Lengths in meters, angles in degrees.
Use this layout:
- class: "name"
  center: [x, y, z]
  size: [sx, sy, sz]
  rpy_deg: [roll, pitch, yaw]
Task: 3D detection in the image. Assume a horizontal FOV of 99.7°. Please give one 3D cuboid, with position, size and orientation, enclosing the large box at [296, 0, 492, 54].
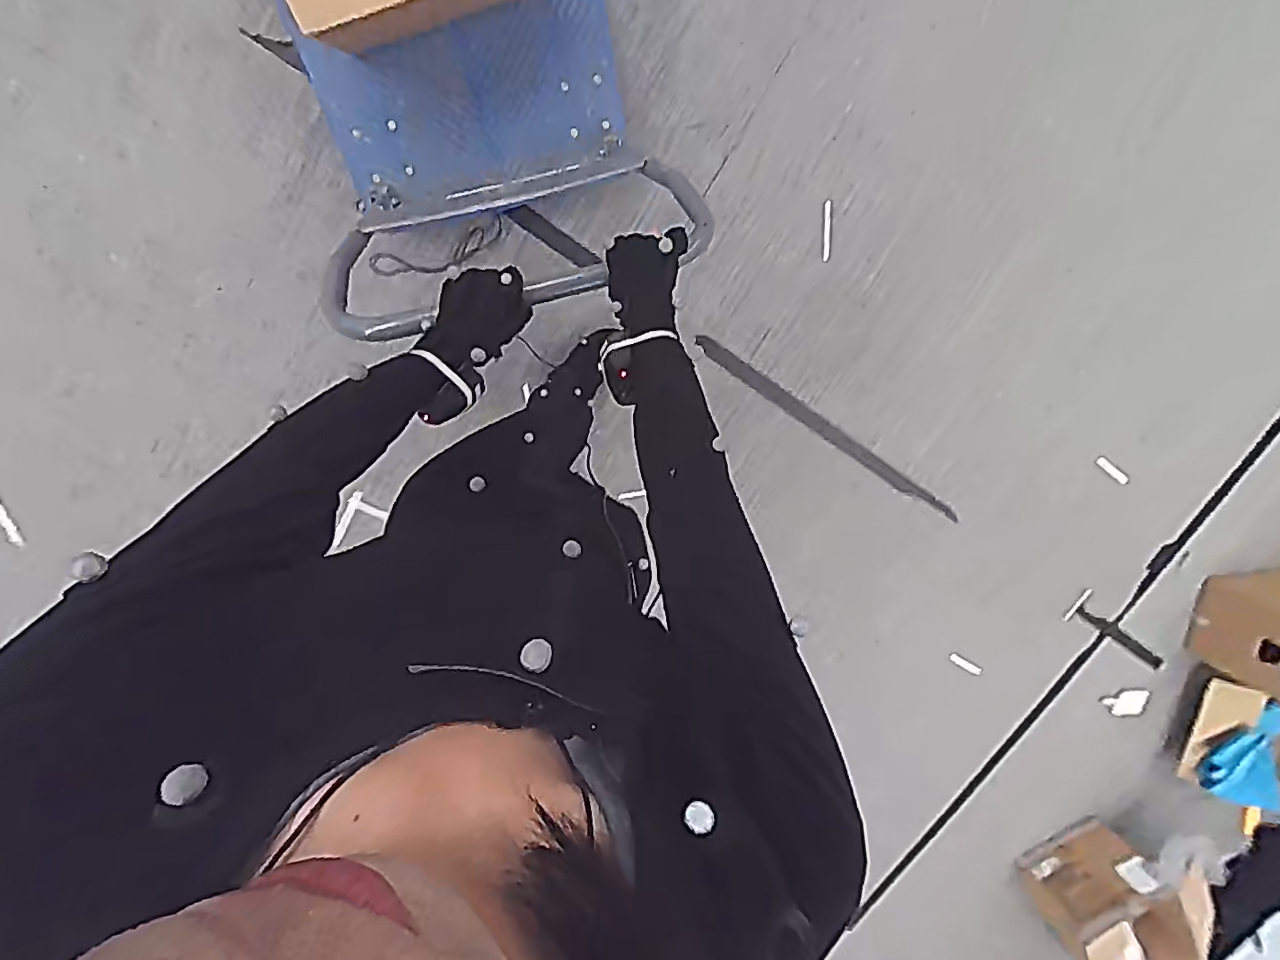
- class: "large box"
  center: [-0.362, -0.899, 0.797]
  size: [0.408, 0.320, 0.320]
  rpy_deg: [-22, 126, -2]
